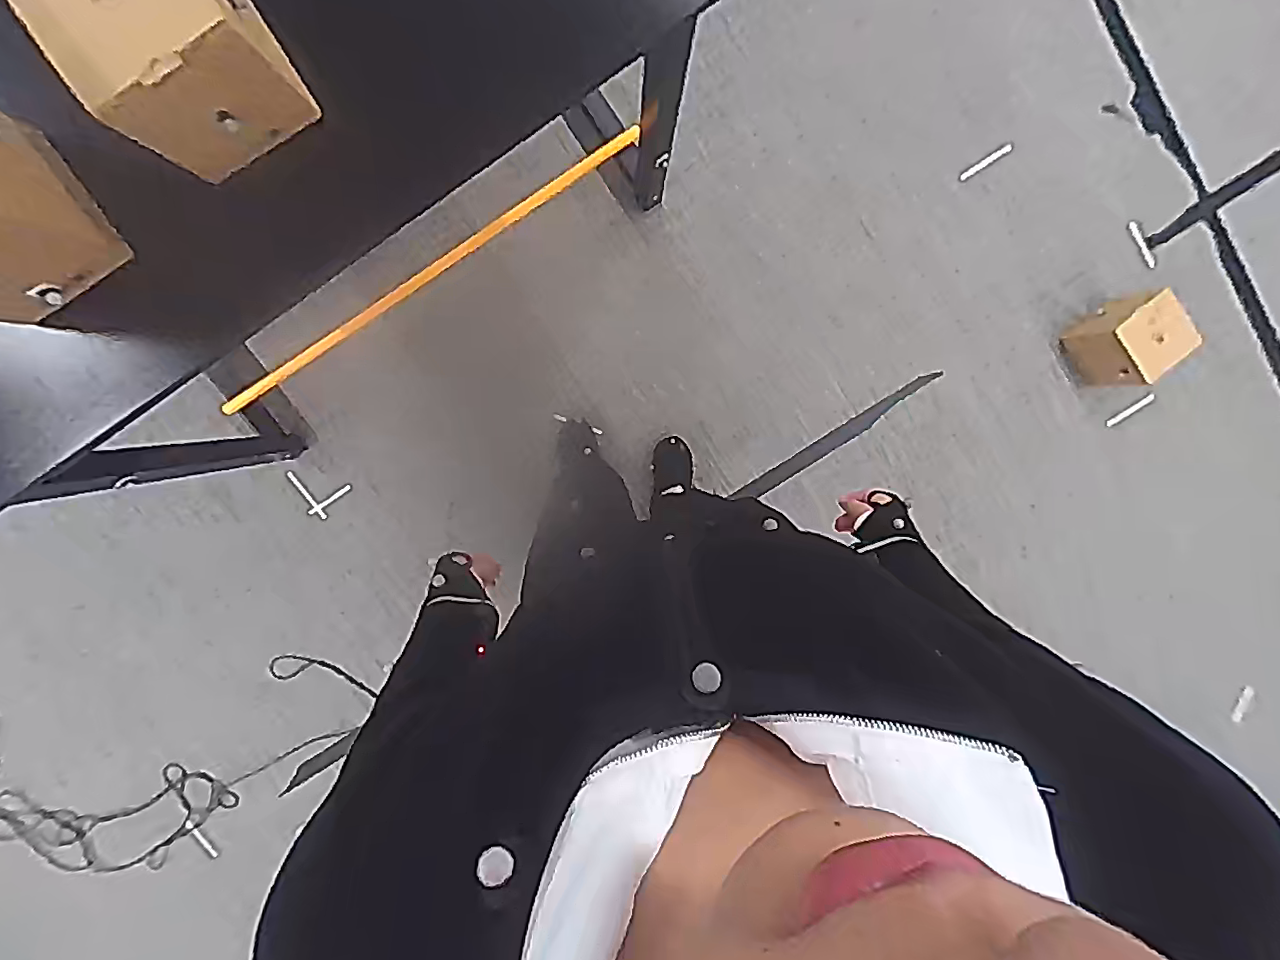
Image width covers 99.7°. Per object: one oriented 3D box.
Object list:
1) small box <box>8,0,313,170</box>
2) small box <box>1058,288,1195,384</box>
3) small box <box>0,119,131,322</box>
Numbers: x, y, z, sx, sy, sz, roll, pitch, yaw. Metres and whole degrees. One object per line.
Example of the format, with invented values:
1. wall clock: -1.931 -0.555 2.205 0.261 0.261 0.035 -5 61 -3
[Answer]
1. small box: -0.507 -0.473 0.586 0.168 0.176 0.179 -32 98 2
2. small box: 1.262 -0.368 1.414 0.168 0.176 0.179 -40 98 3
3. small box: -0.750 -0.300 0.599 0.168 0.176 0.179 -34 98 3
